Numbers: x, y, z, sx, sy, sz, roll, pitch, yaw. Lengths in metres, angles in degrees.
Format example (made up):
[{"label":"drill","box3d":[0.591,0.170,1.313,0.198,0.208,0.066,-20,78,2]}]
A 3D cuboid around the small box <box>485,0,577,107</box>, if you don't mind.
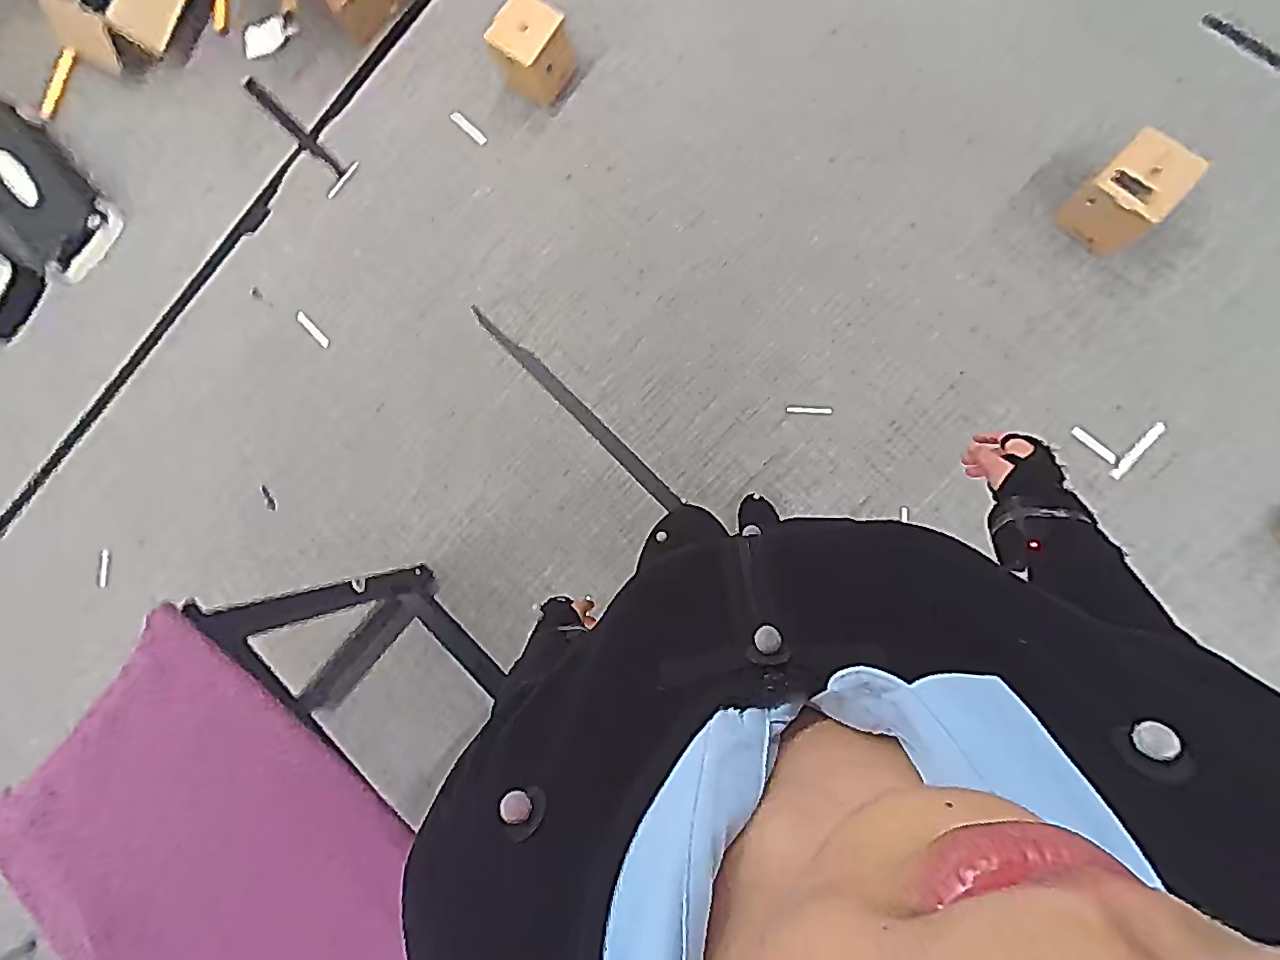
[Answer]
[{"label":"small box","box3d":[-0.308,-1.236,1.572,0.179,0.176,0.168,37,93,9]}]
